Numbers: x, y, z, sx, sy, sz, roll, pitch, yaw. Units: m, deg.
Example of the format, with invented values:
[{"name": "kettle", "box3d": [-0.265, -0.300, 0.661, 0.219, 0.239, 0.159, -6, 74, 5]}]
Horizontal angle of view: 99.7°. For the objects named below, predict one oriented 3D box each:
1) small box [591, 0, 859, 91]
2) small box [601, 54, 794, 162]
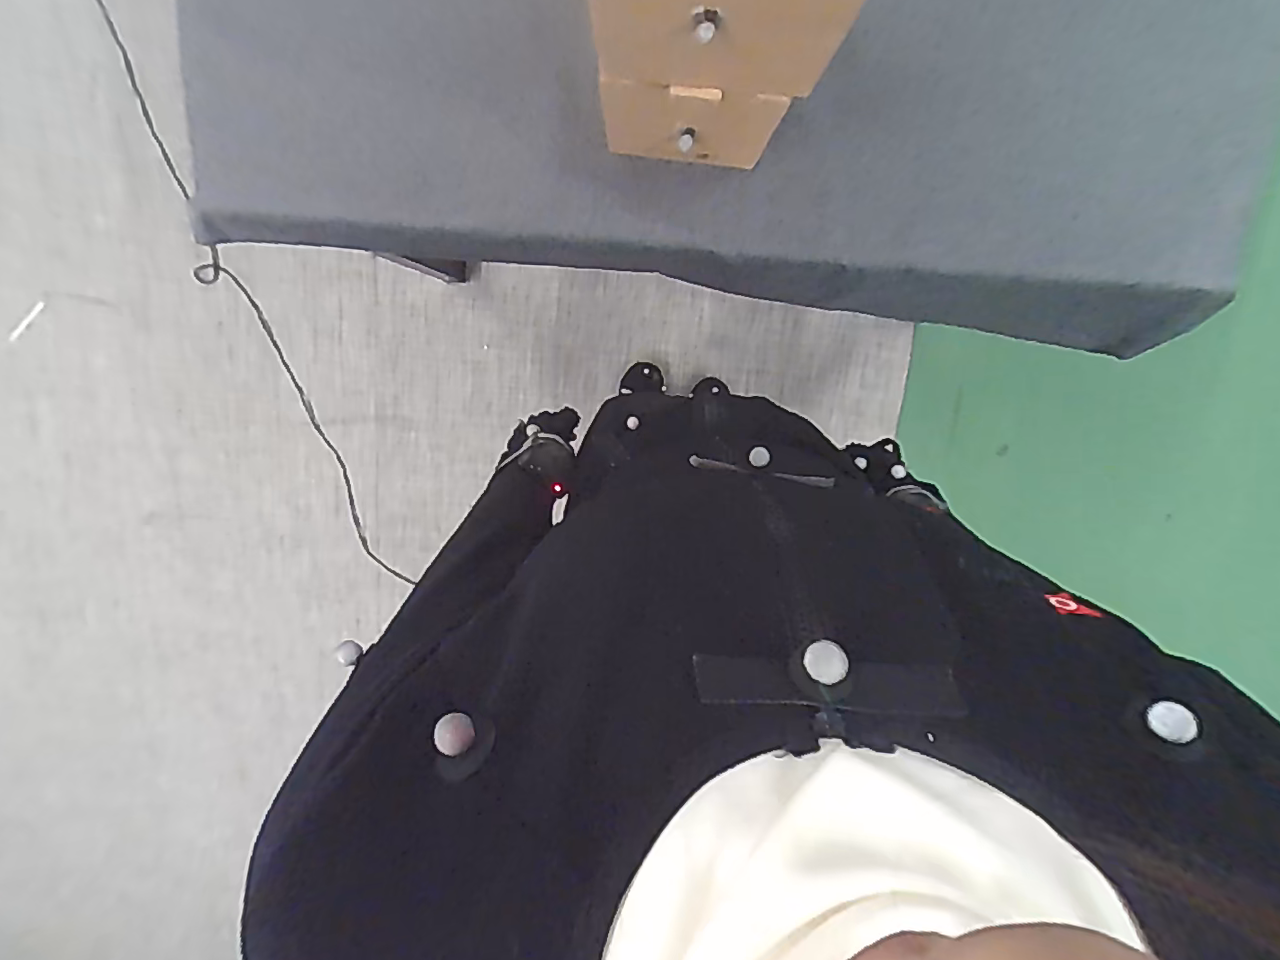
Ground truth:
[{"name": "small box", "box3d": [0.061, -0.388, 0.354, 0.179, 0.176, 0.168, 5, 102, 2]}, {"name": "small box", "box3d": [0.060, -0.427, 0.514, 0.168, 0.176, 0.179, 6, 103, 1]}]
